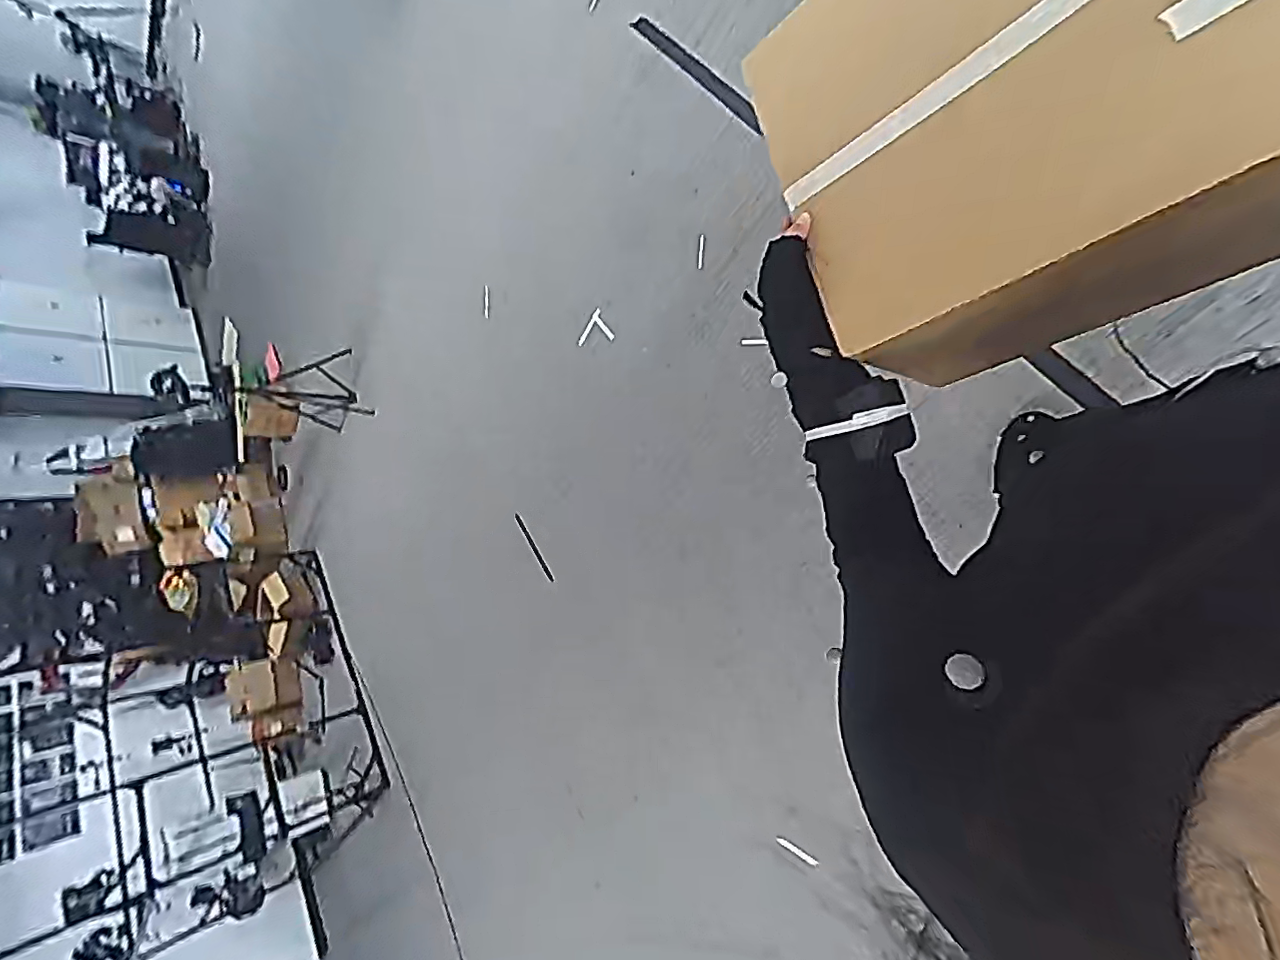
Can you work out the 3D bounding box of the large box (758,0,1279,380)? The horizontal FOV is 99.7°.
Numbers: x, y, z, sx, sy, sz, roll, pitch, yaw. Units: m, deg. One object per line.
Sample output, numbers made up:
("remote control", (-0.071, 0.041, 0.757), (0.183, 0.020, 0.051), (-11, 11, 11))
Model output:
("large box", (0.385, -0.324, 0.483), (0.408, 0.320, 0.320), (-22, 78, 40))
